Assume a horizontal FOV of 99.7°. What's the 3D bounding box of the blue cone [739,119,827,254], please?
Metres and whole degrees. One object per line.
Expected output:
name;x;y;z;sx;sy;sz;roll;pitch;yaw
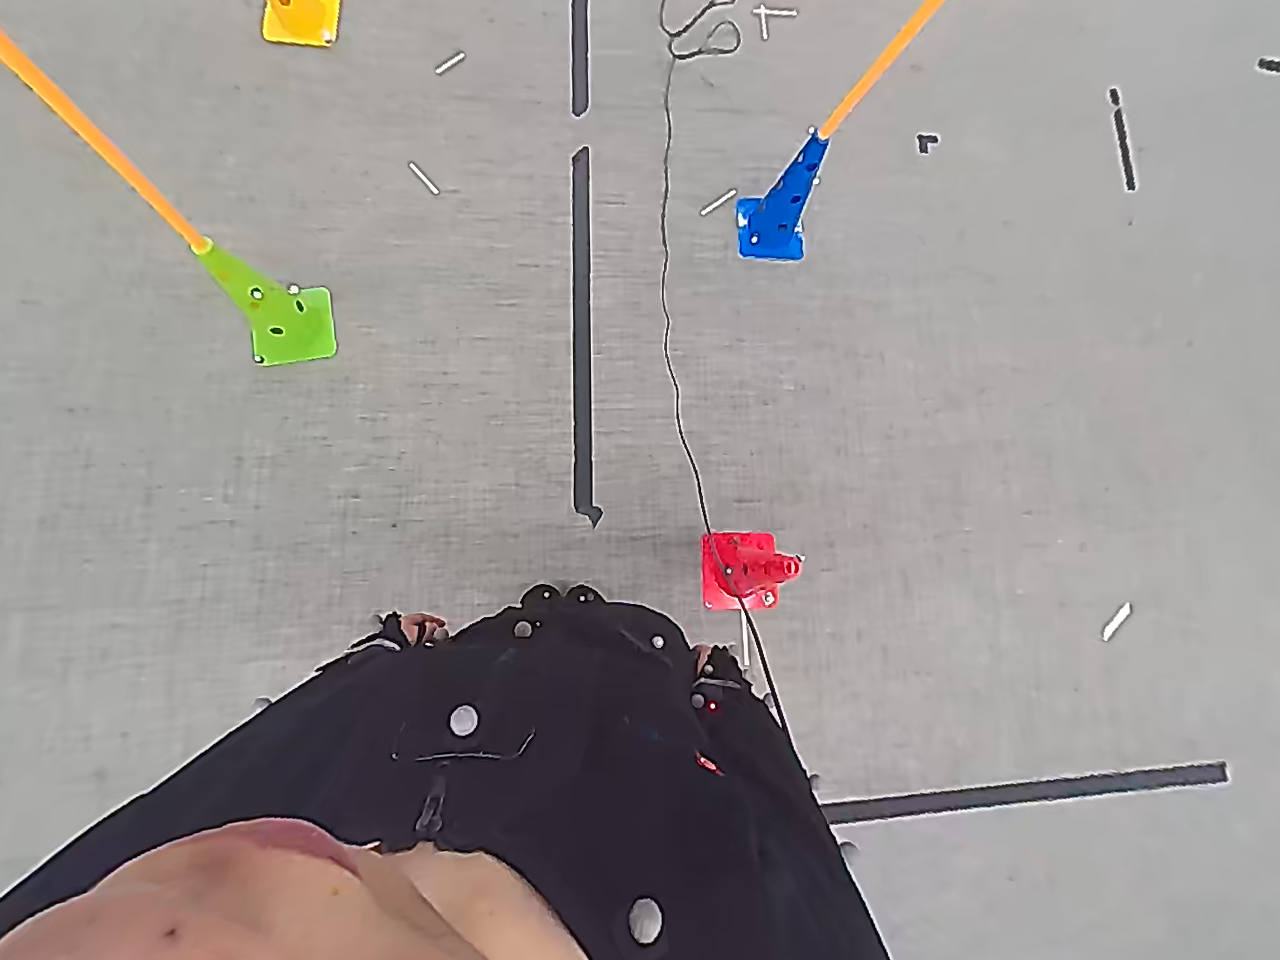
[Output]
blue cone;0.411;-0.801;1.467;0.193;0.380;0.192;2;79;-6

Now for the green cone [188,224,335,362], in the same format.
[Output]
green cone;-0.888;-0.447;1.243;0.200;0.368;0.202;-11;79;-9
